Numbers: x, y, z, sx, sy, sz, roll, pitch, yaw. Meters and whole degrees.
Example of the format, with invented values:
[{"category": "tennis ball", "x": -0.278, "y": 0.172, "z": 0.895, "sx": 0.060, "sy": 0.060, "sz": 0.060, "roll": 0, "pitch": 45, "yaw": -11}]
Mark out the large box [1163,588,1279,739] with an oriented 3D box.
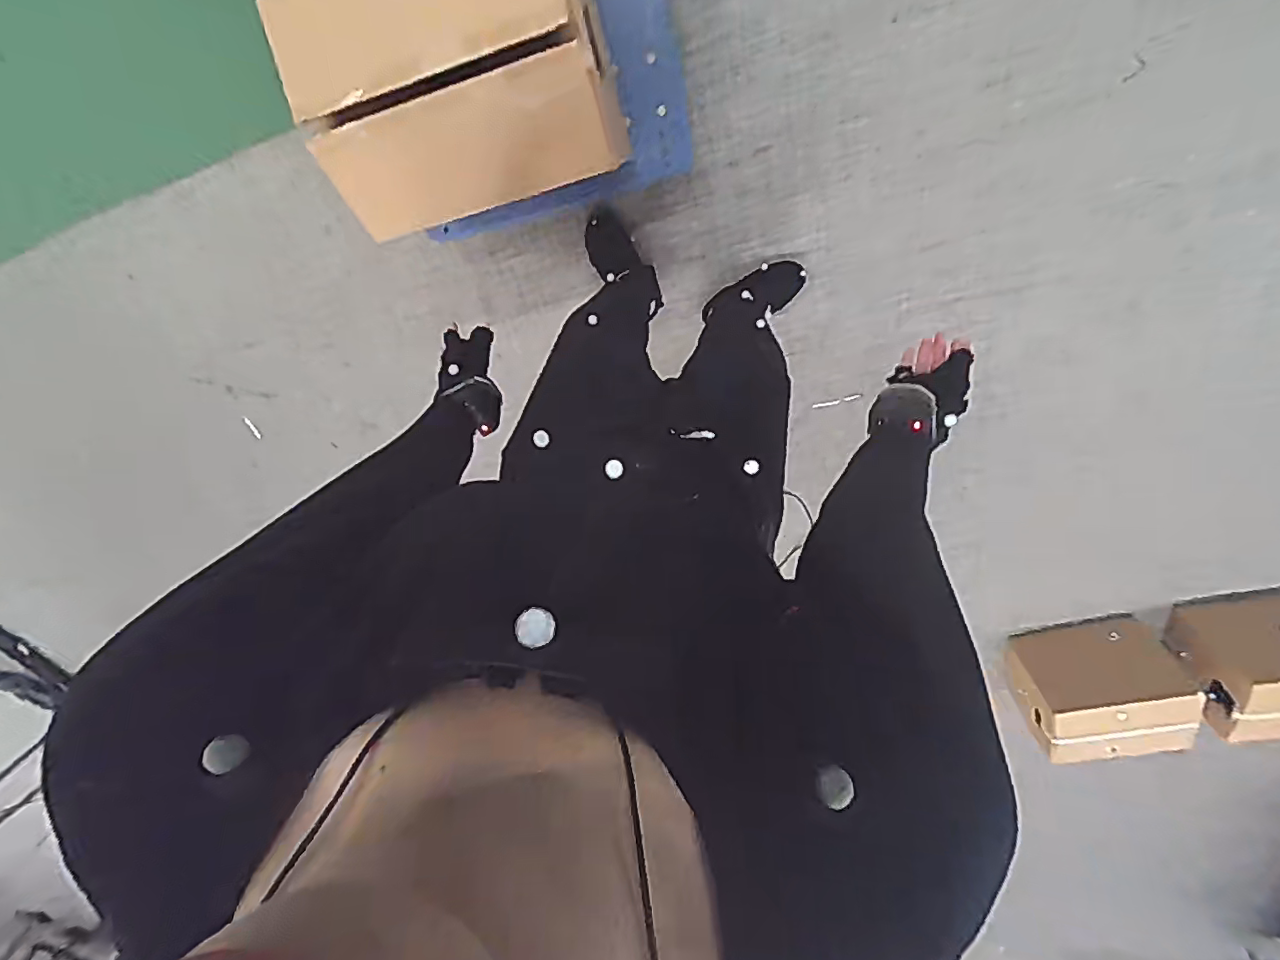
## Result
[{"category": "large box", "x": 2.022, "y": 0.574, "z": 1.718, "sx": 0.408, "sy": 0.320, "sz": 0.320, "roll": -13, "pitch": 123, "yaw": 12}]
